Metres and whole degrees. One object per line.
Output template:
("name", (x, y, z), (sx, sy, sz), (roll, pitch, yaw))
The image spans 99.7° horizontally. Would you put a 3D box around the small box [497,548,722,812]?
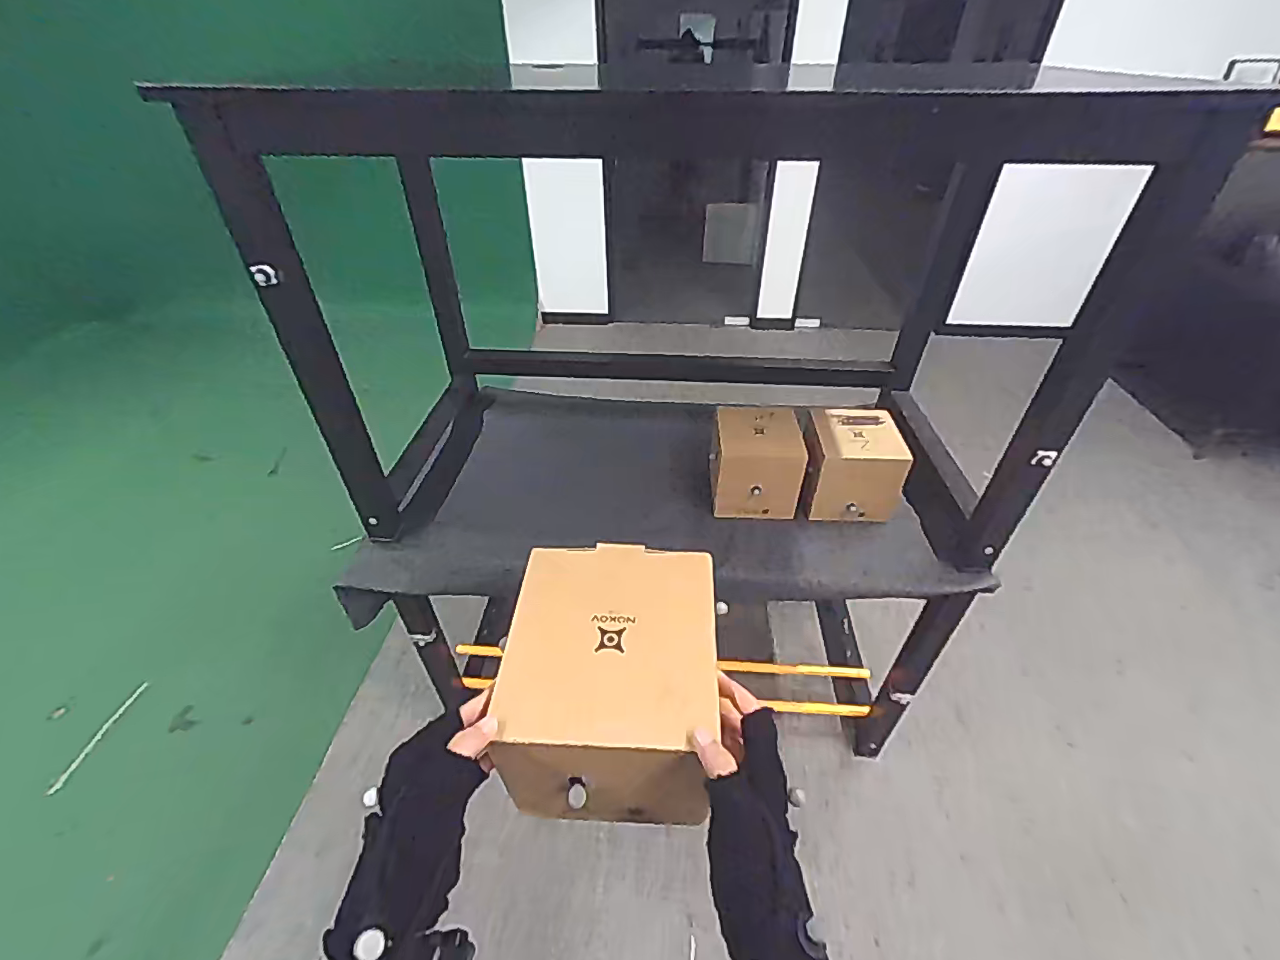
("small box", (-0.016, 0.182, 0.494), (0.168, 0.176, 0.179), (0, 42, 2))
